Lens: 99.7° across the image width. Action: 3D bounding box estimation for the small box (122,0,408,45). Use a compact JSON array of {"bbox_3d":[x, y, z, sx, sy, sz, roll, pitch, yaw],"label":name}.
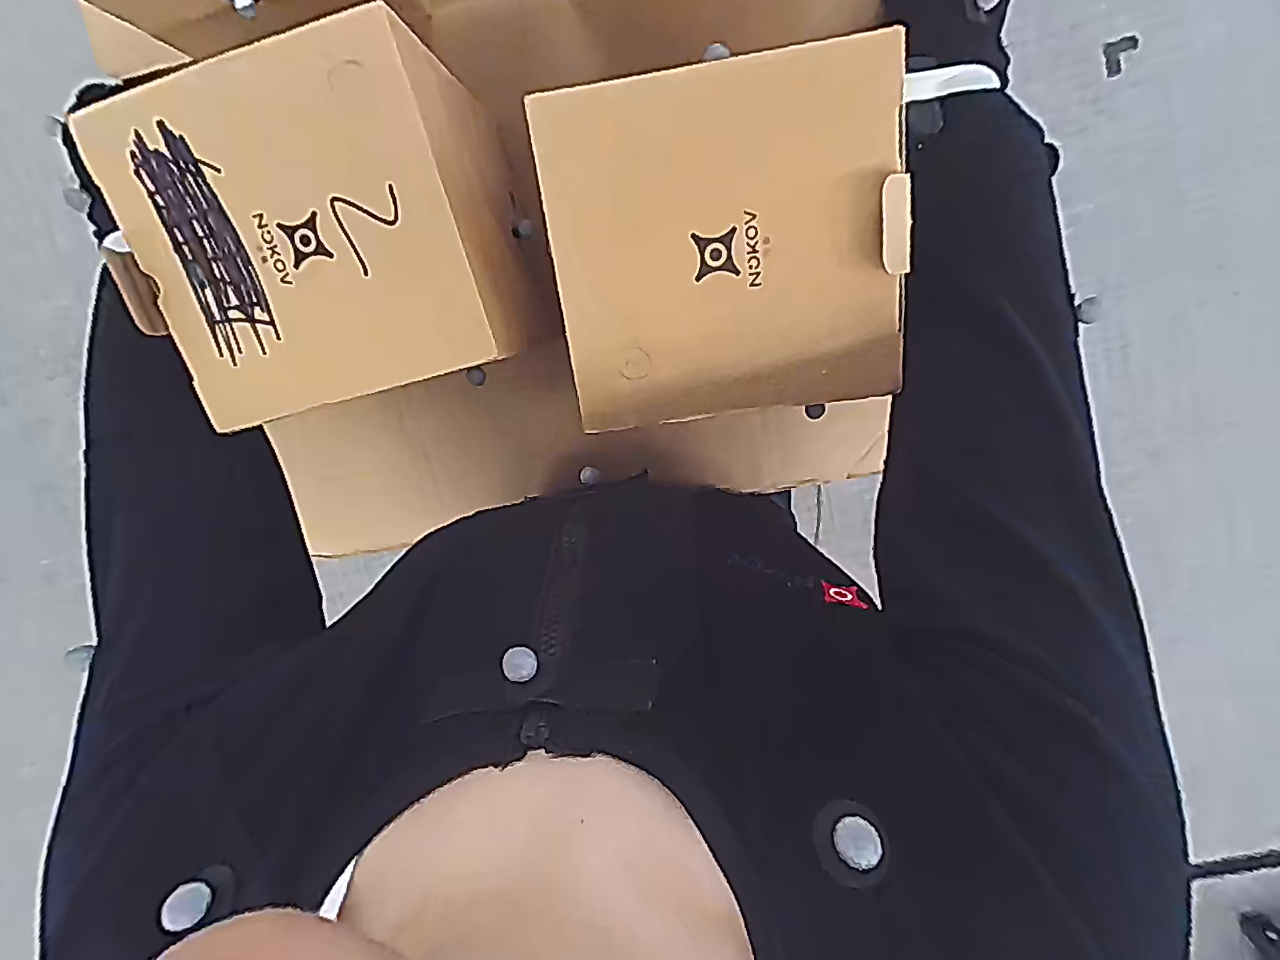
[{"bbox_3d":[-0.252,-0.379,0.294,0.168,0.176,0.179,-10,106,6],"label":"small box"}]
